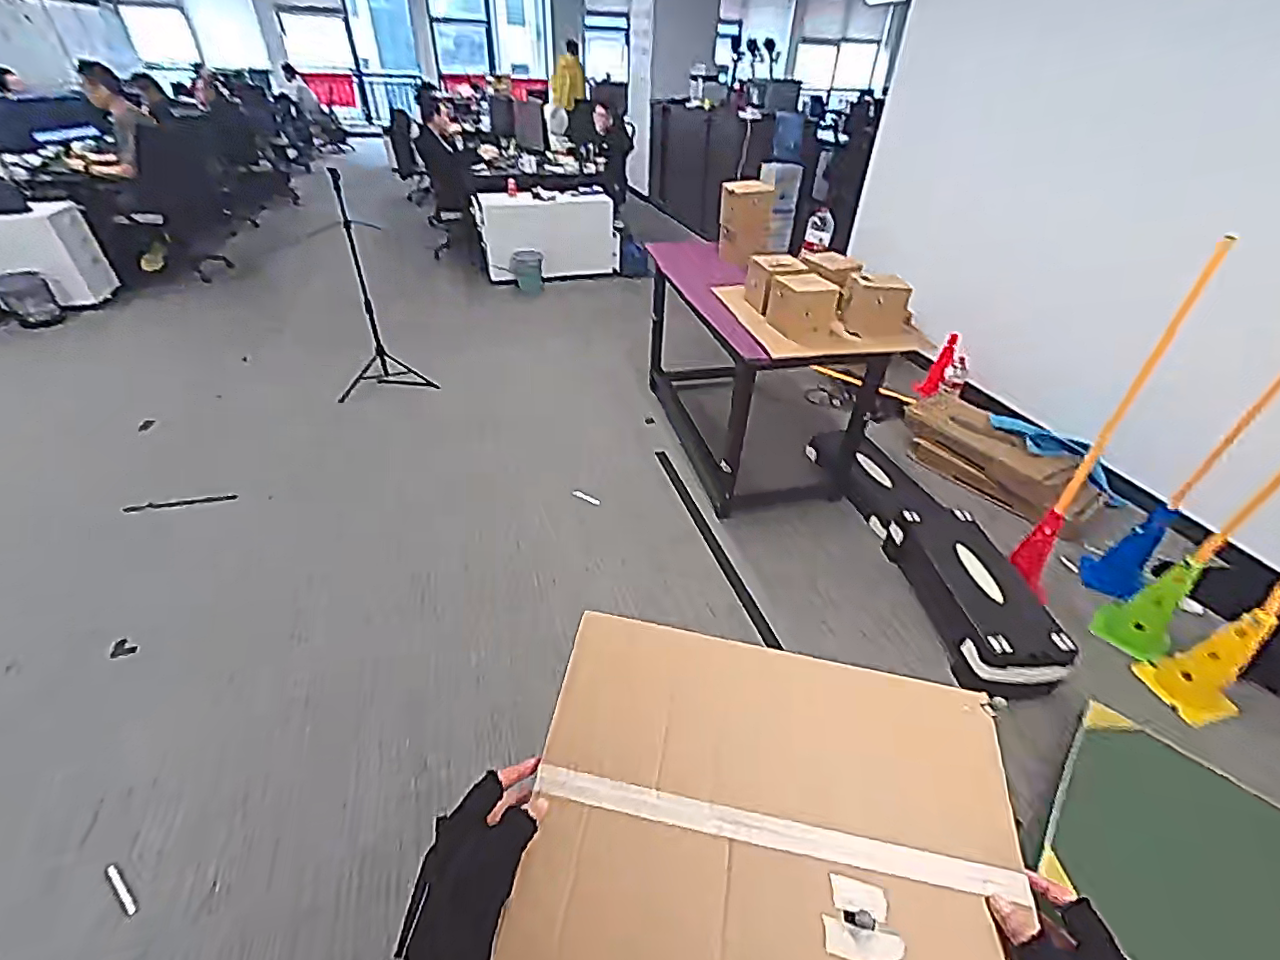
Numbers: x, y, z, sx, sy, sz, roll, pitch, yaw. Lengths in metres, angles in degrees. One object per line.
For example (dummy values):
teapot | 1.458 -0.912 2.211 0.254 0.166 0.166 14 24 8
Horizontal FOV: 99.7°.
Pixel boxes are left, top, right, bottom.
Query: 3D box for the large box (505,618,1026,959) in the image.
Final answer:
large box | 0.104 0.386 0.583 0.408 0.320 0.320 11 53 4
